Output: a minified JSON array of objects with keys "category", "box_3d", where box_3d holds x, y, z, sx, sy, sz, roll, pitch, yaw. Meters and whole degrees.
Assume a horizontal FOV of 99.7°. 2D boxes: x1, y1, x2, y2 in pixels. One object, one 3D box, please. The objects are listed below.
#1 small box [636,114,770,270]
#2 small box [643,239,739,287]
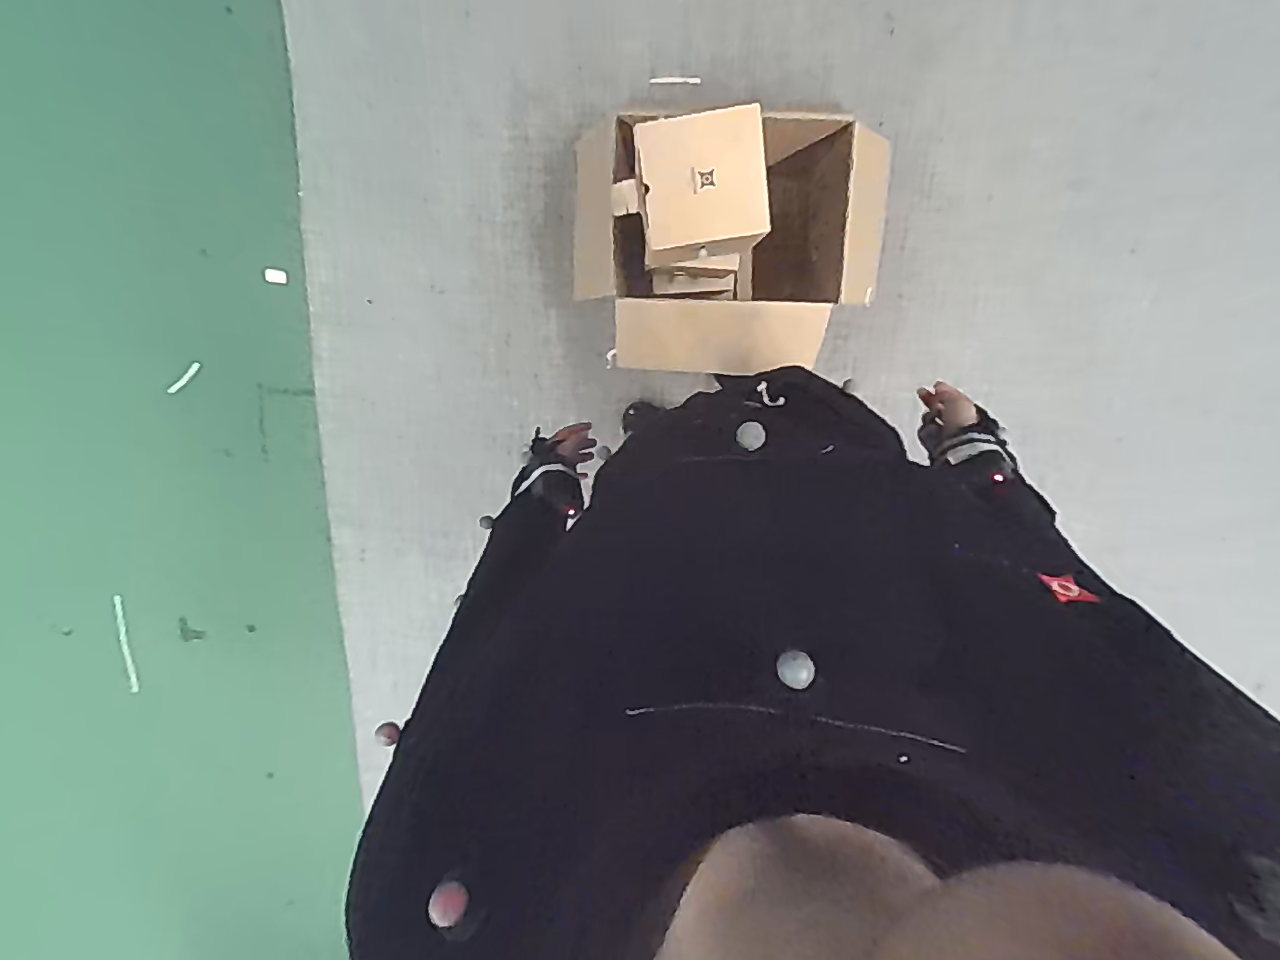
[{"category":"small box","box_3d":[0.090,-0.430,0.835,0.179,0.176,0.168,-8,104,3]},{"category":"small box","box_3d":[0.093,-0.461,0.994,0.168,0.176,0.179,4,105,-1]}]
